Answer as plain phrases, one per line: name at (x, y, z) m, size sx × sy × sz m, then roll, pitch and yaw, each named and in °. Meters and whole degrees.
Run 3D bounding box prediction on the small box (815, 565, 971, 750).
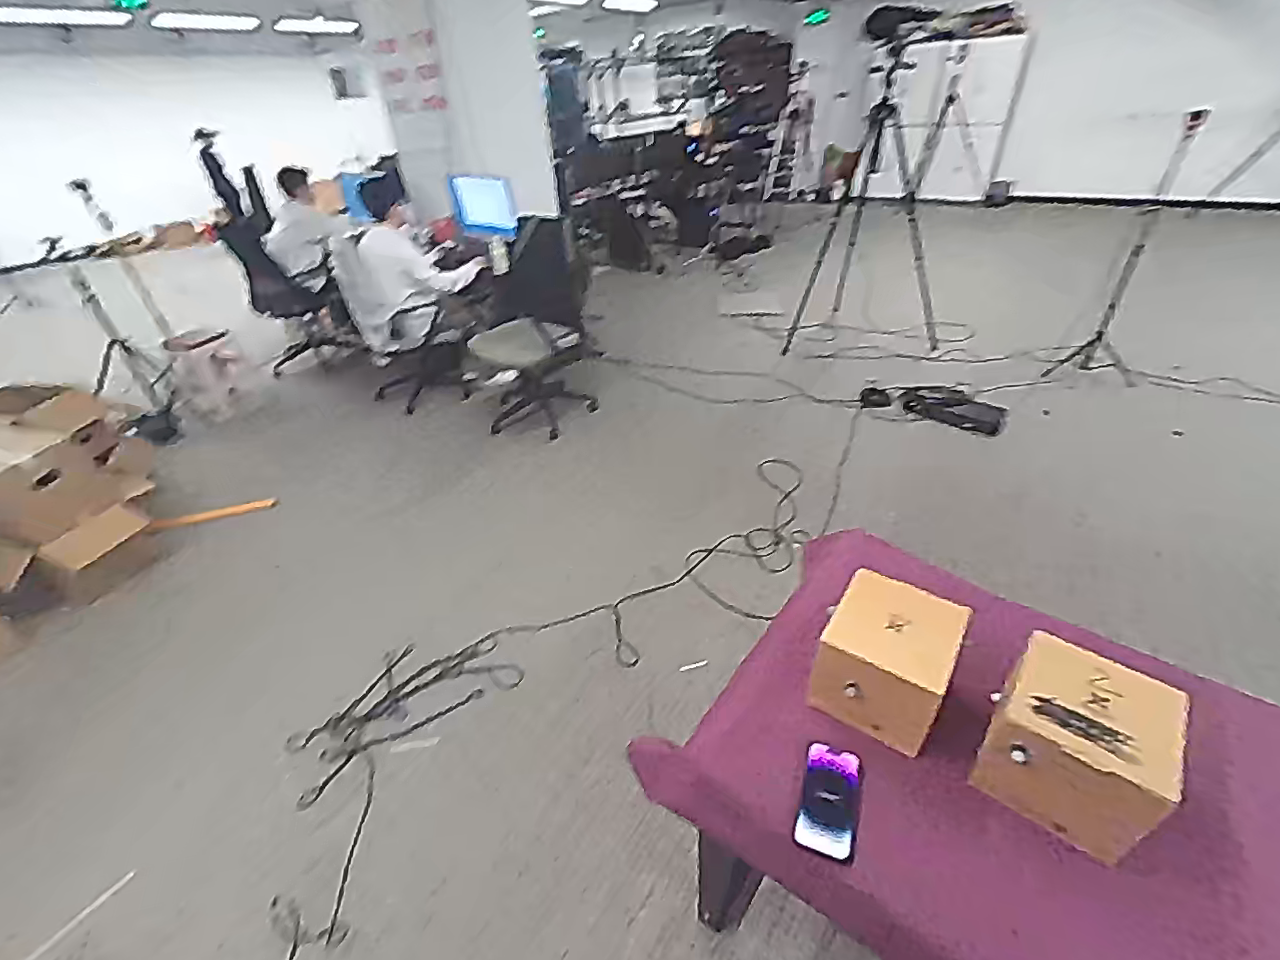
small box at (0.382, 0.271, 0.834) m, size 0.168 × 0.176 × 0.179 m, roll 20°, pitch 42°, yaw 31°
